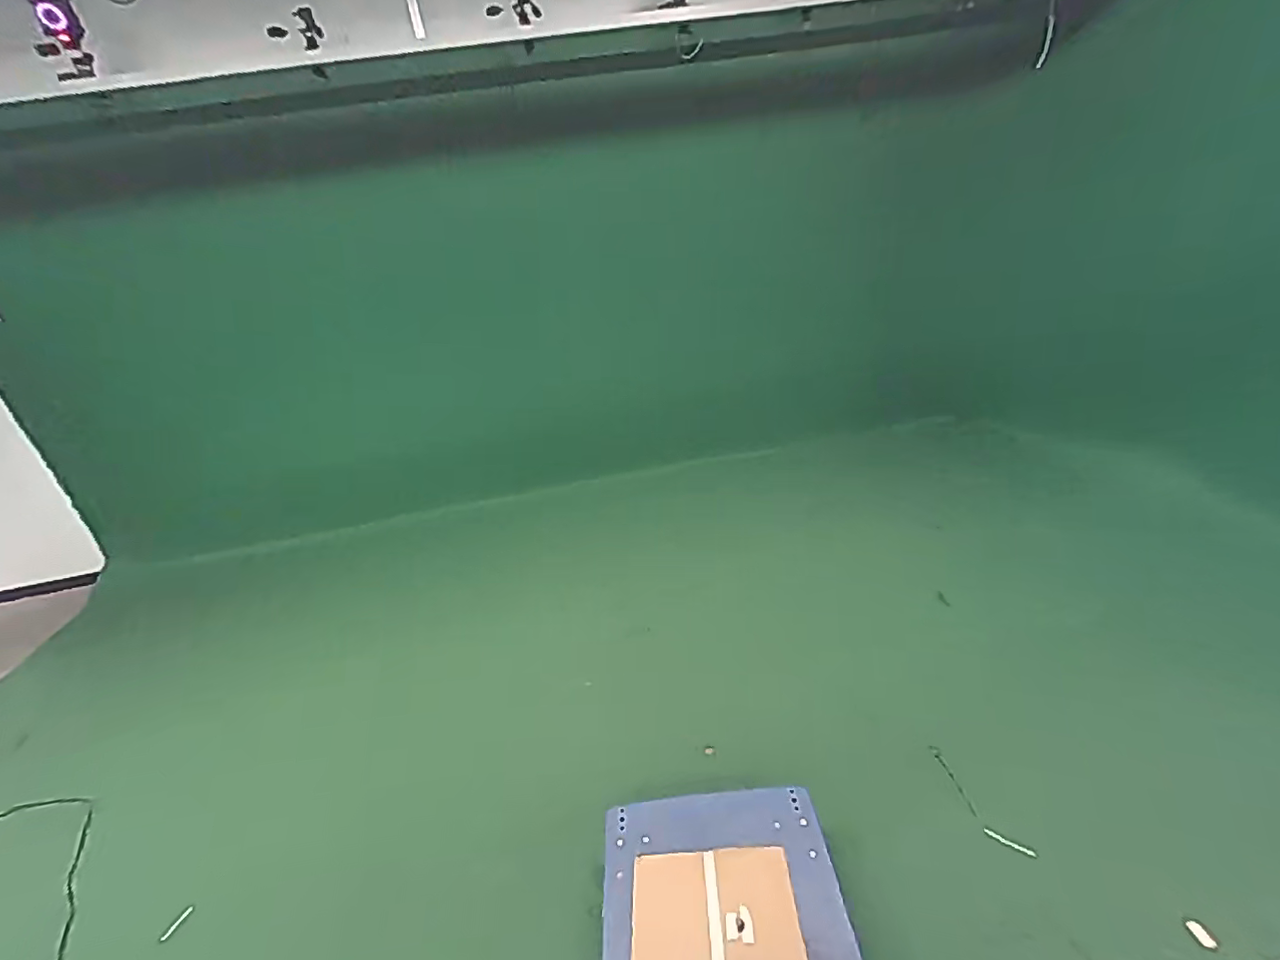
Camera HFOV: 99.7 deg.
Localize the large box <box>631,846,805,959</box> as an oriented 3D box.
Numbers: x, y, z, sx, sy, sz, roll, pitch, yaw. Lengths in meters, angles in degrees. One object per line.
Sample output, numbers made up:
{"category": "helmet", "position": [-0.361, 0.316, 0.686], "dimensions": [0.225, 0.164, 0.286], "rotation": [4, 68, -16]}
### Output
{"category": "large box", "position": [0.157, 0.992, 1.010], "dimensions": [0.320, 0.320, 0.408], "rotation": [-6, 25, 4]}
